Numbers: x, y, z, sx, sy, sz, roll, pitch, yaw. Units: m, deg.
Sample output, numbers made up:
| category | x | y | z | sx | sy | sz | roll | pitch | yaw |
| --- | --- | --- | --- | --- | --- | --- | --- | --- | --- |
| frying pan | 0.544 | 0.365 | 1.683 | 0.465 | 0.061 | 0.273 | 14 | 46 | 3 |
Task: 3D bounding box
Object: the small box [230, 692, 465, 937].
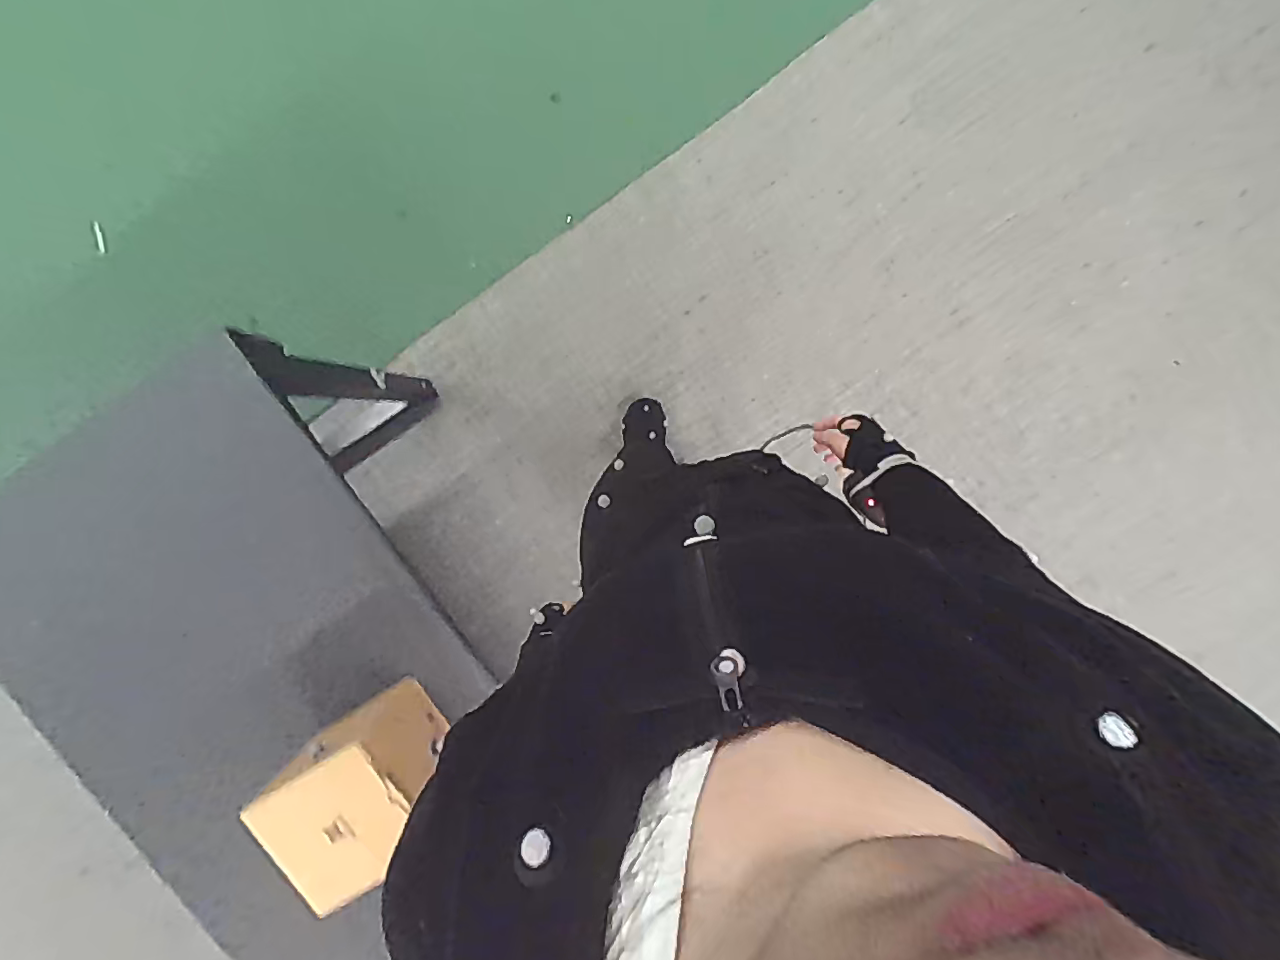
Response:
| category | x | y | z | sx | sy | sz | roll | pitch | yaw |
| --- | --- | --- | --- | --- | --- | --- | --- | --- | --- |
| small box | -0.363 | 0.419 | 0.707 | 0.179 | 0.176 | 0.168 | -33 | 96 | 2 |
